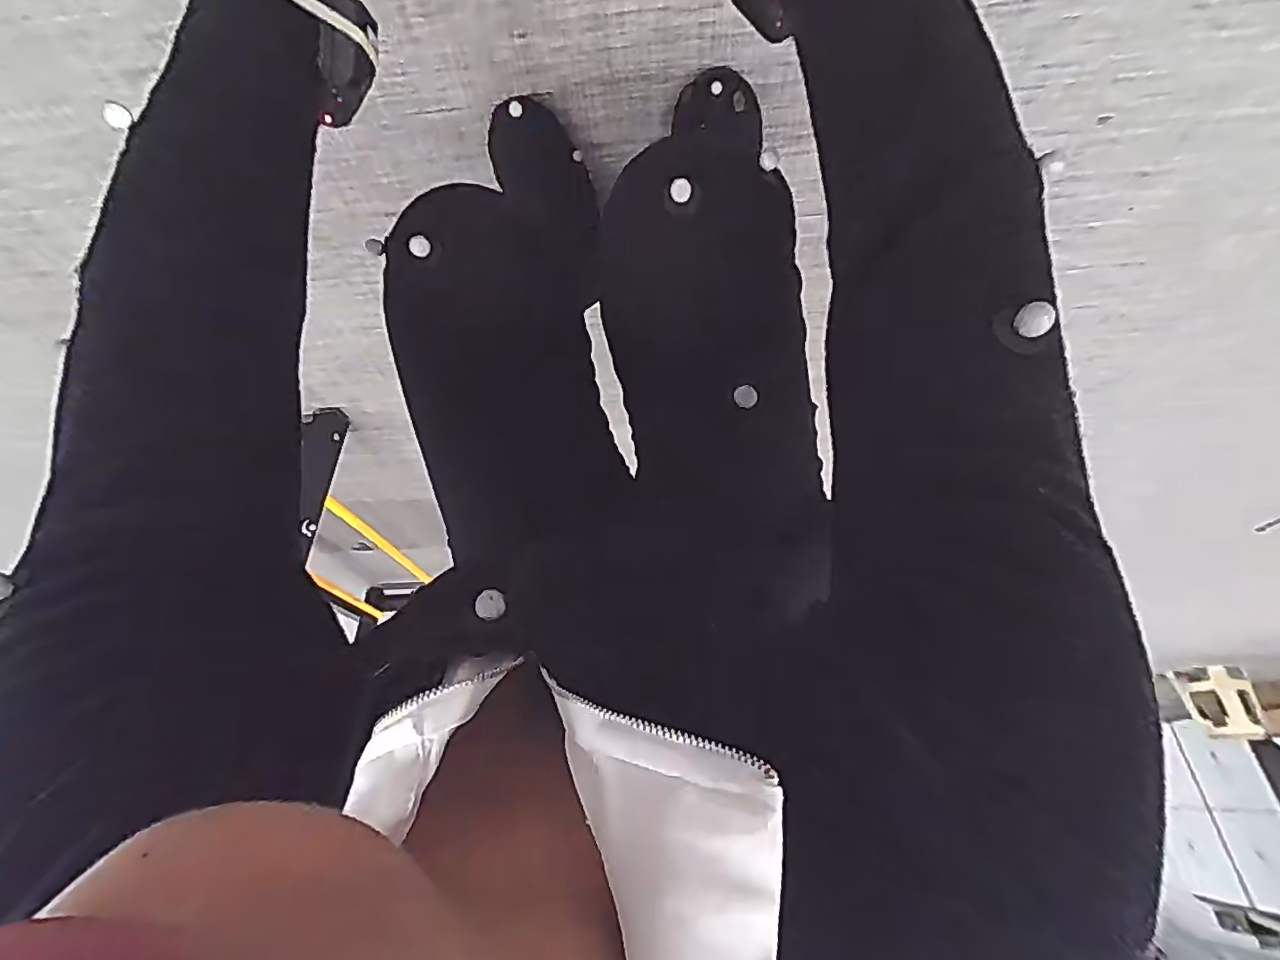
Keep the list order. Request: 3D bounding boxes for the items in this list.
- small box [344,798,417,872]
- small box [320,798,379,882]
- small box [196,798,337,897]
[{"bbox_3d":[-0.778,1.031,1.579,0.168,0.176,0.179,-4,149,6],"label":"small box"},{"bbox_3d":[-0.798,0.922,1.394,0.179,0.176,0.168,-3,150,3],"label":"small box"},{"bbox_3d":[-0.813,0.808,1.200,0.179,0.176,0.168,-3,151,3],"label":"small box"}]
